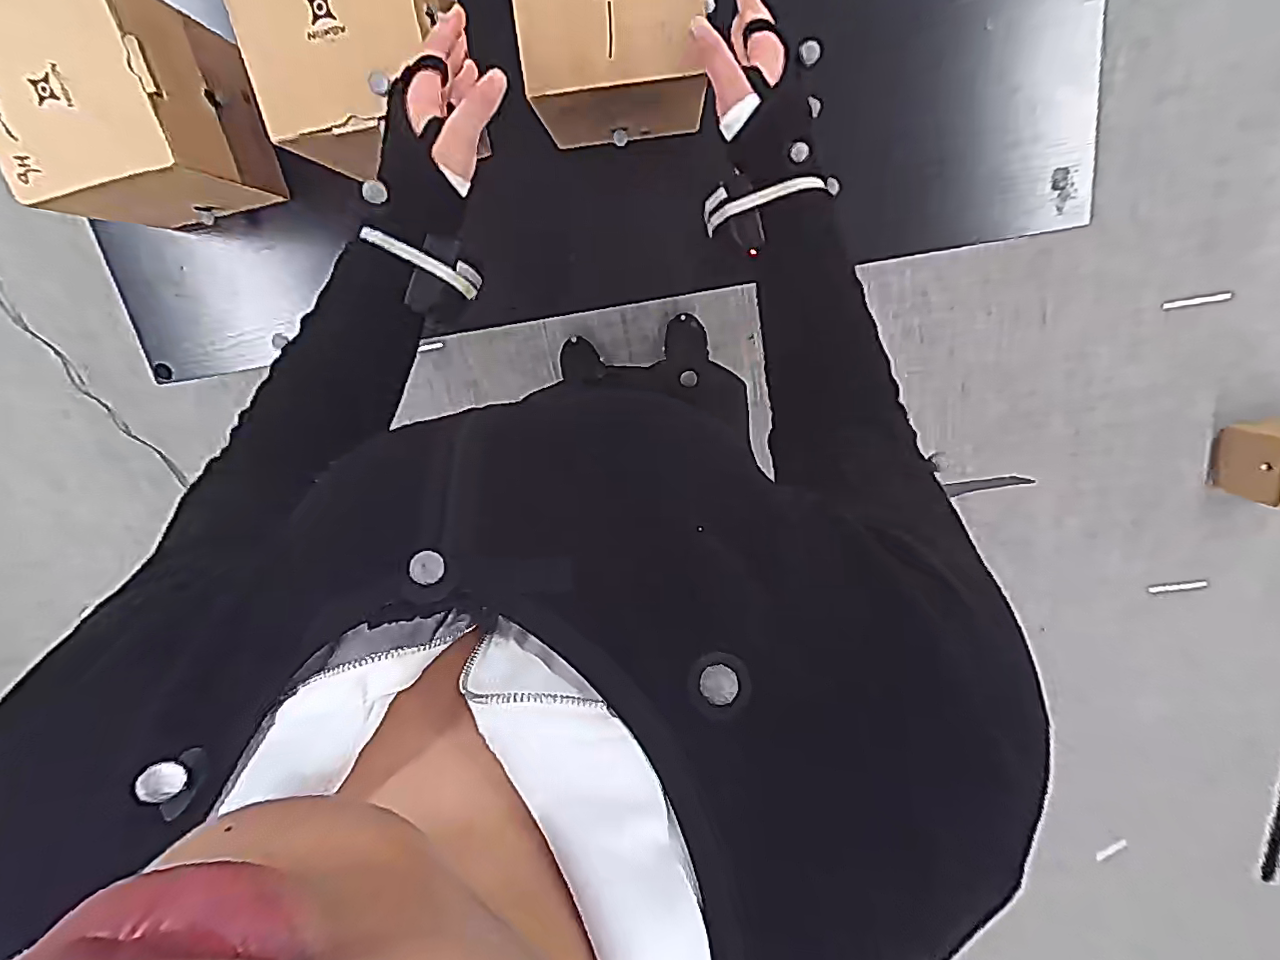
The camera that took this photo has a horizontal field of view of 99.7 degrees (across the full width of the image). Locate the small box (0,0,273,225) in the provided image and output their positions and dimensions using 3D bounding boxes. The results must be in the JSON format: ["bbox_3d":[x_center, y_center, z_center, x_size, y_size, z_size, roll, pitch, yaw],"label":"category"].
[{"bbox_3d":[-0.531,-0.383,0.569,0.179,0.176,0.168,-11,106,4],"label":"small box"}]

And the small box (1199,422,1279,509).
[{"bbox_3d":[1.587,-0.044,1.370,0.168,0.176,0.179,-8,108,5],"label":"small box"}]

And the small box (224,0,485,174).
[{"bbox_3d":[-0.274,-0.430,0.547,0.168,0.176,0.179,-9,106,4],"label":"small box"}]

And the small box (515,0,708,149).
[{"bbox_3d":[-0.026,-0.453,0.531,0.168,0.176,0.179,-4,108,3],"label":"small box"}]
